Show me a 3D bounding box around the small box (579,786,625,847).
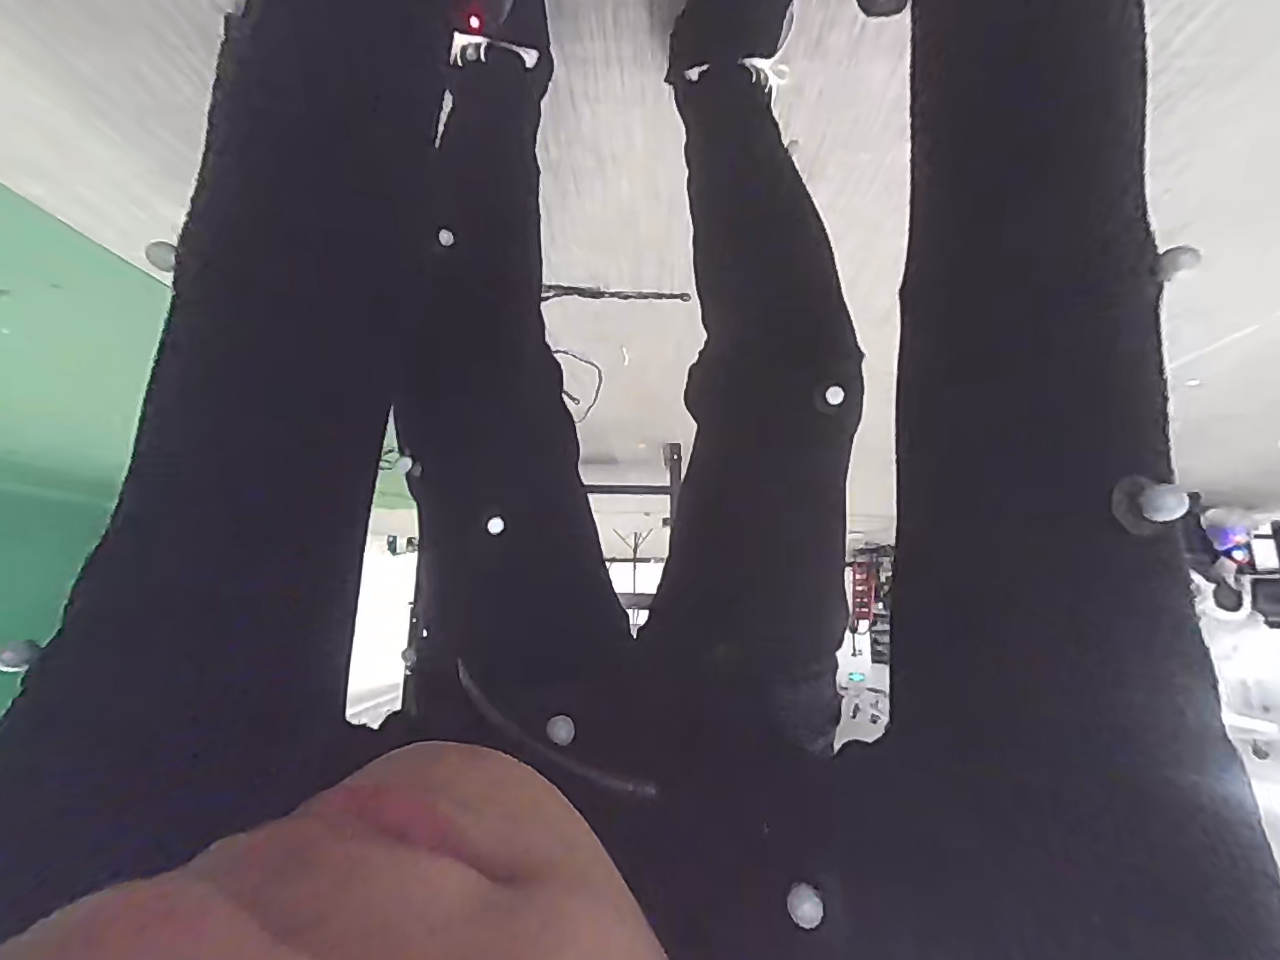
[{"bbox_3d":[-0.152,1.376,2.218,0.179,0.176,0.168,2,168,2],"label":"small box"}]
